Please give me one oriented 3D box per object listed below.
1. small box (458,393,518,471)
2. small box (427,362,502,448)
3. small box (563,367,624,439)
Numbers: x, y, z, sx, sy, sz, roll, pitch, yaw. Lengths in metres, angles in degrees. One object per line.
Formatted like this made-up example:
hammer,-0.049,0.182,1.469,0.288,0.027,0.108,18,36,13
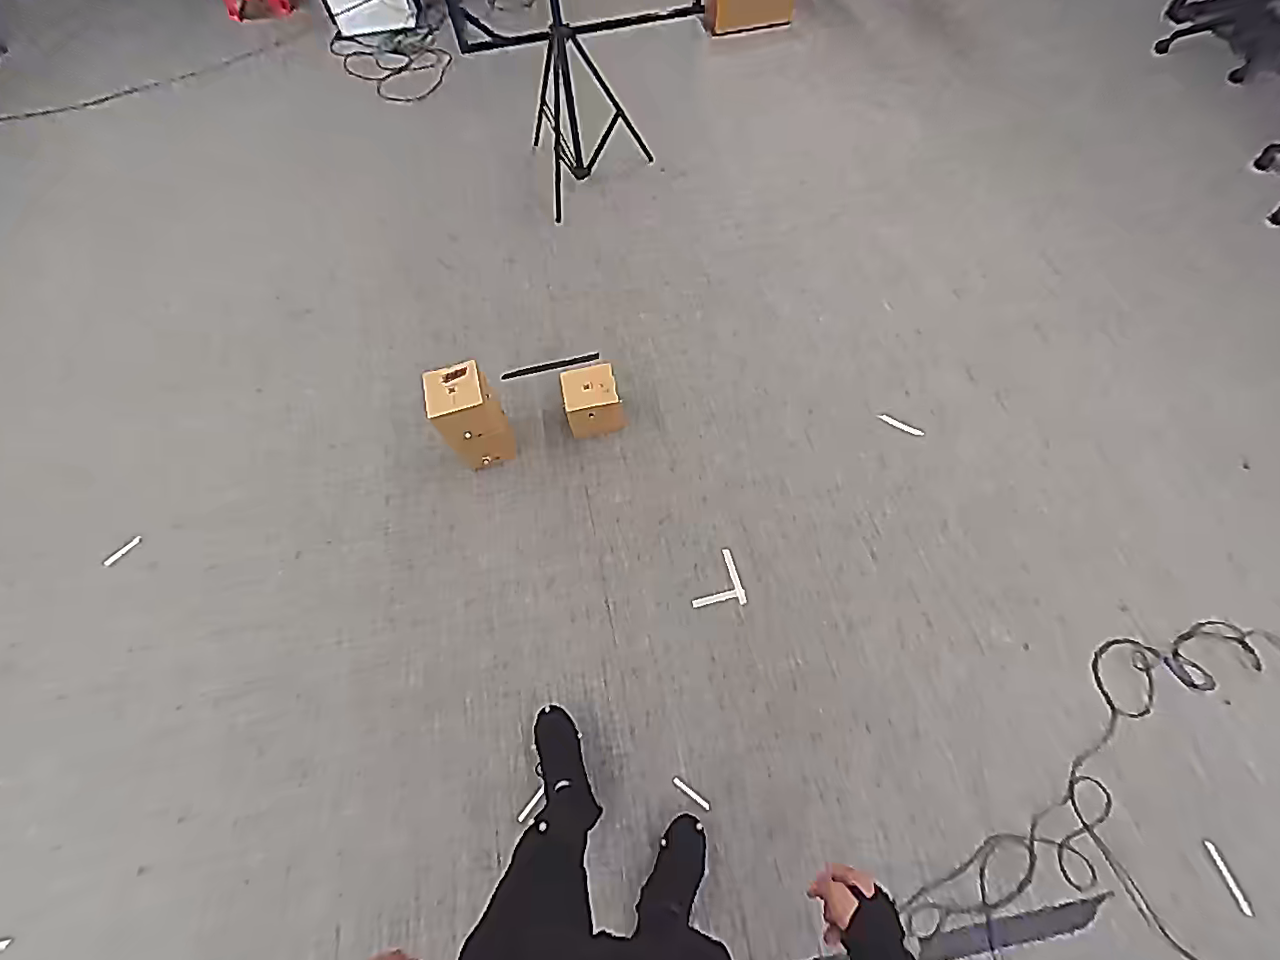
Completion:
small box,-0.523,-0.158,1.816,0.168,0.176,0.179,-17,63,-5
small box,-0.539,-0.228,1.668,0.168,0.176,0.179,-16,63,-4
small box,-0.156,-0.256,1.842,0.179,0.176,0.168,-10,63,-3
